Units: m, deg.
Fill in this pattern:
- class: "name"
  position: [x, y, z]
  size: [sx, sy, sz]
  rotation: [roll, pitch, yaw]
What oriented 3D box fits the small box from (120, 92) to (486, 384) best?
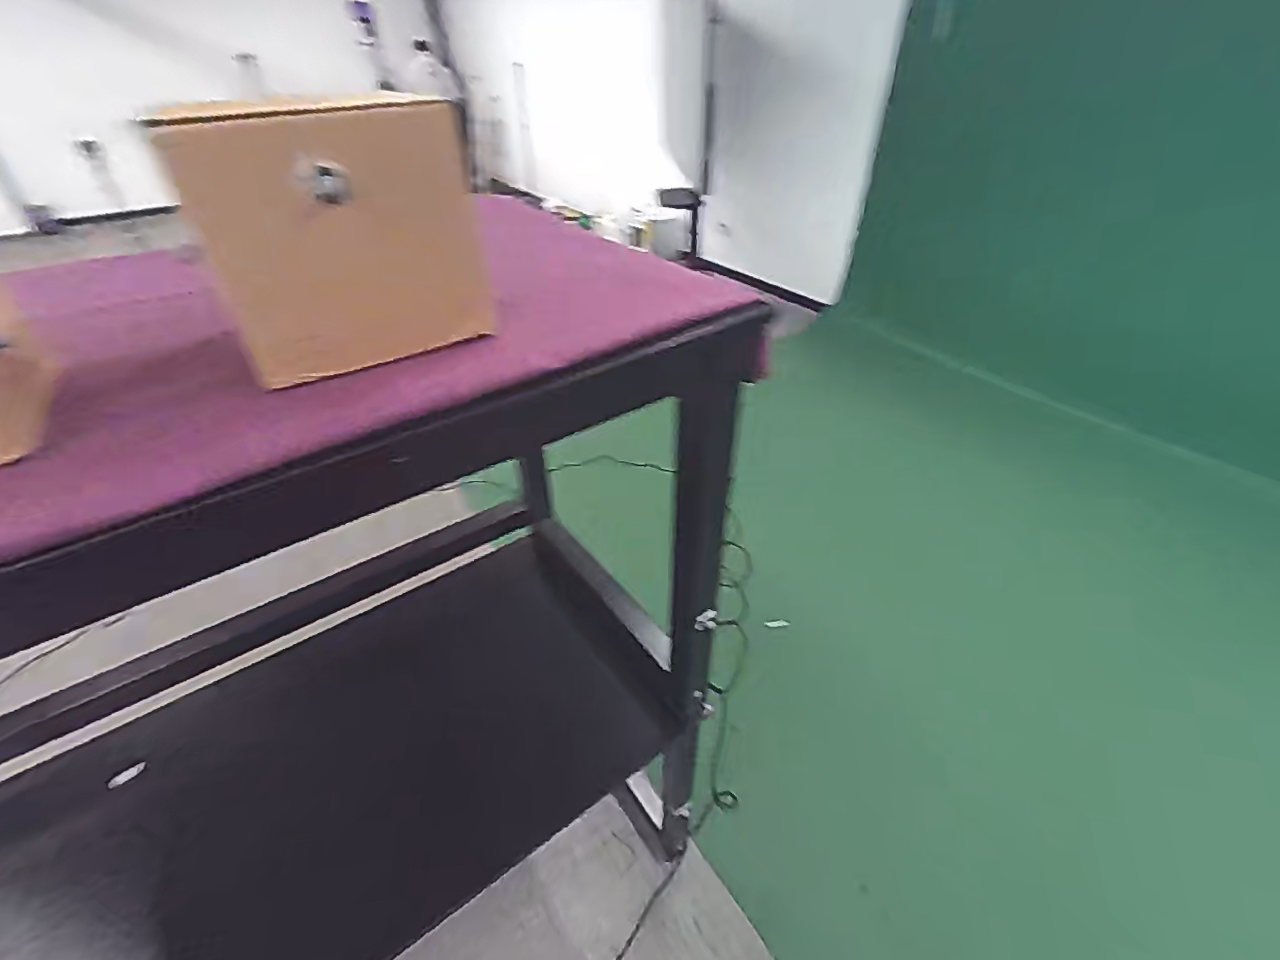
- class: "small box"
  position: [-0.244, -0.195, 0.425]
  size: [0.179, 0.176, 0.168]
  rotation: [-23, 44, -24]
